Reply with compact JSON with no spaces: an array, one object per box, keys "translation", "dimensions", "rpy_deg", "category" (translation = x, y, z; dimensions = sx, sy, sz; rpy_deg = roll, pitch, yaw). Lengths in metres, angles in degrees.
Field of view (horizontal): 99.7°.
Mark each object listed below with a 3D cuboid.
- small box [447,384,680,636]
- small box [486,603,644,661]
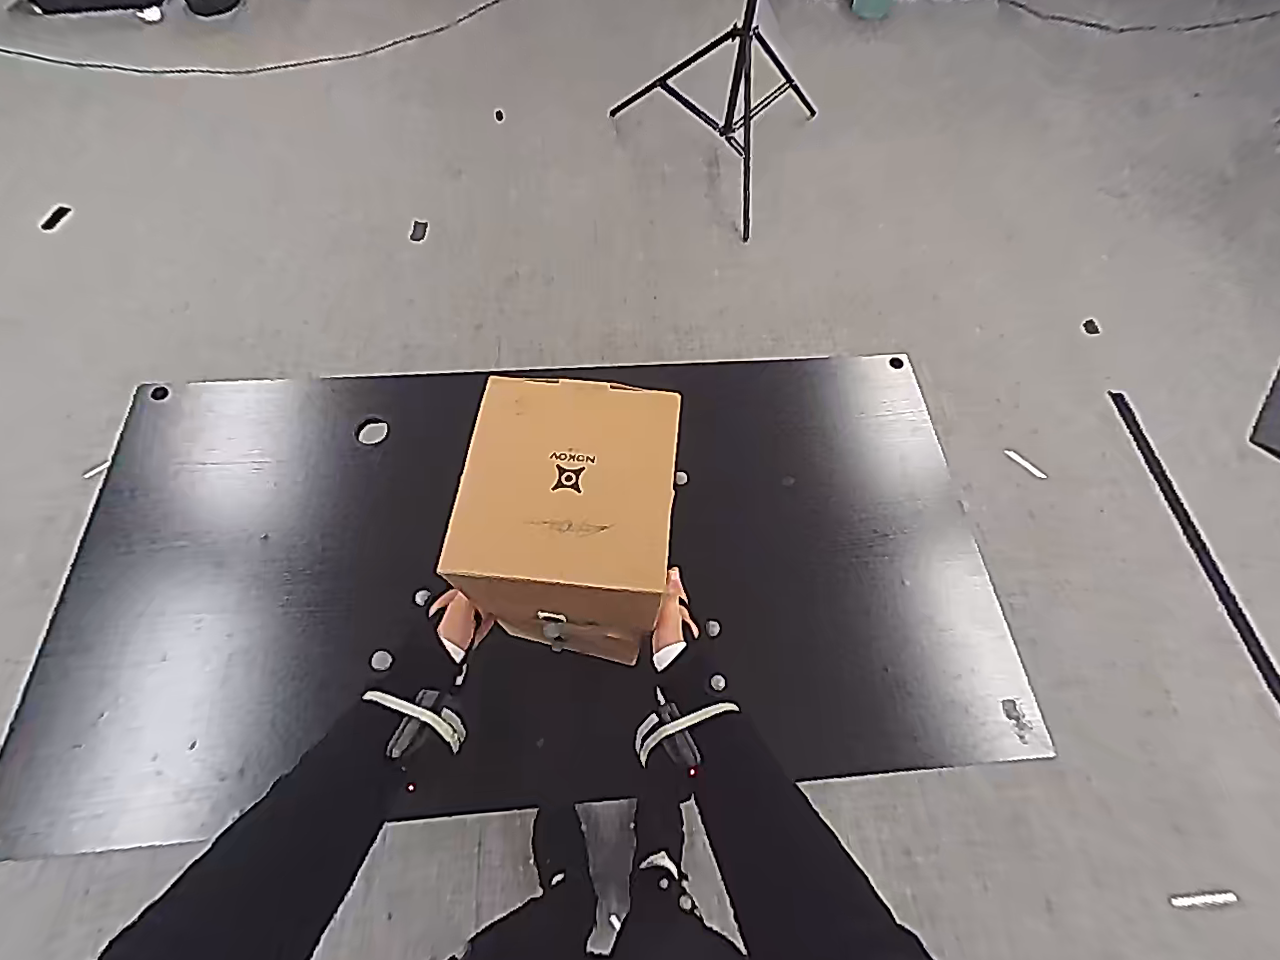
[{"translation":[-0.056,0.036,0.504],"dimensions":[0.168,0.176,0.179],"rpy_deg":[5,65,1],"category":"small box"},{"translation":[-0.062,0.107,0.652],"dimensions":[0.168,0.176,0.179],"rpy_deg":[12,64,3],"category":"small box"}]
